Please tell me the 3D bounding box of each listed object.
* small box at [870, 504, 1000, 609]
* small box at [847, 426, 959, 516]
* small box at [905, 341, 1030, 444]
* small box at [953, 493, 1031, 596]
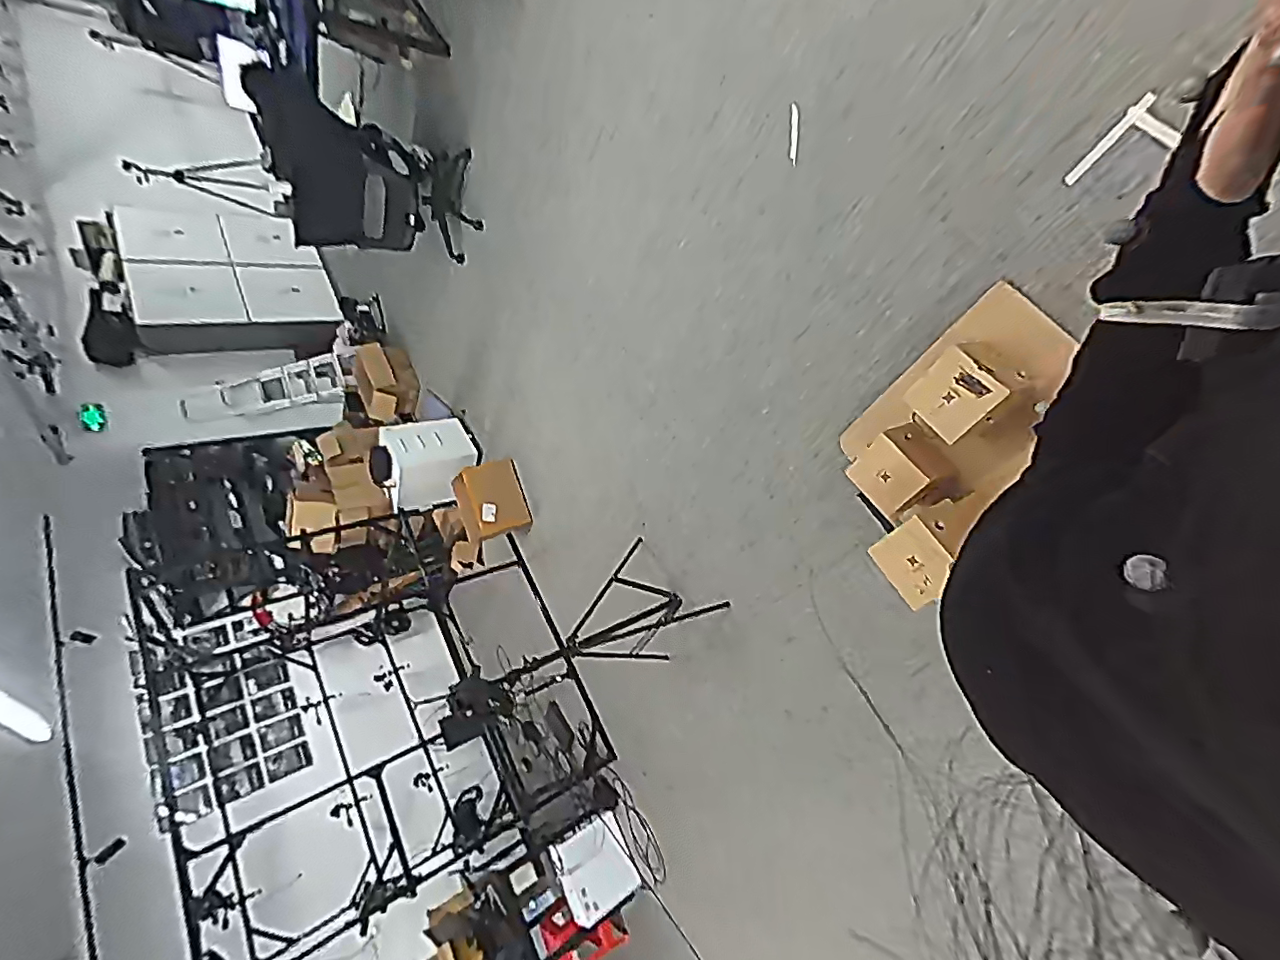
[{"bbox_3d":[0.693,0.172,1.274,0.179,0.176,0.168,58,141,22],"label":"small box"},{"bbox_3d":[0.710,-0.031,1.464,0.179,0.176,0.168,54,139,24],"label":"small box"},{"bbox_3d":[0.789,-0.215,1.294,0.168,0.176,0.179,55,139,24],"label":"small box"},{"bbox_3d":[0.833,0.156,1.364,0.179,0.176,0.168,54,138,24],"label":"small box"}]
